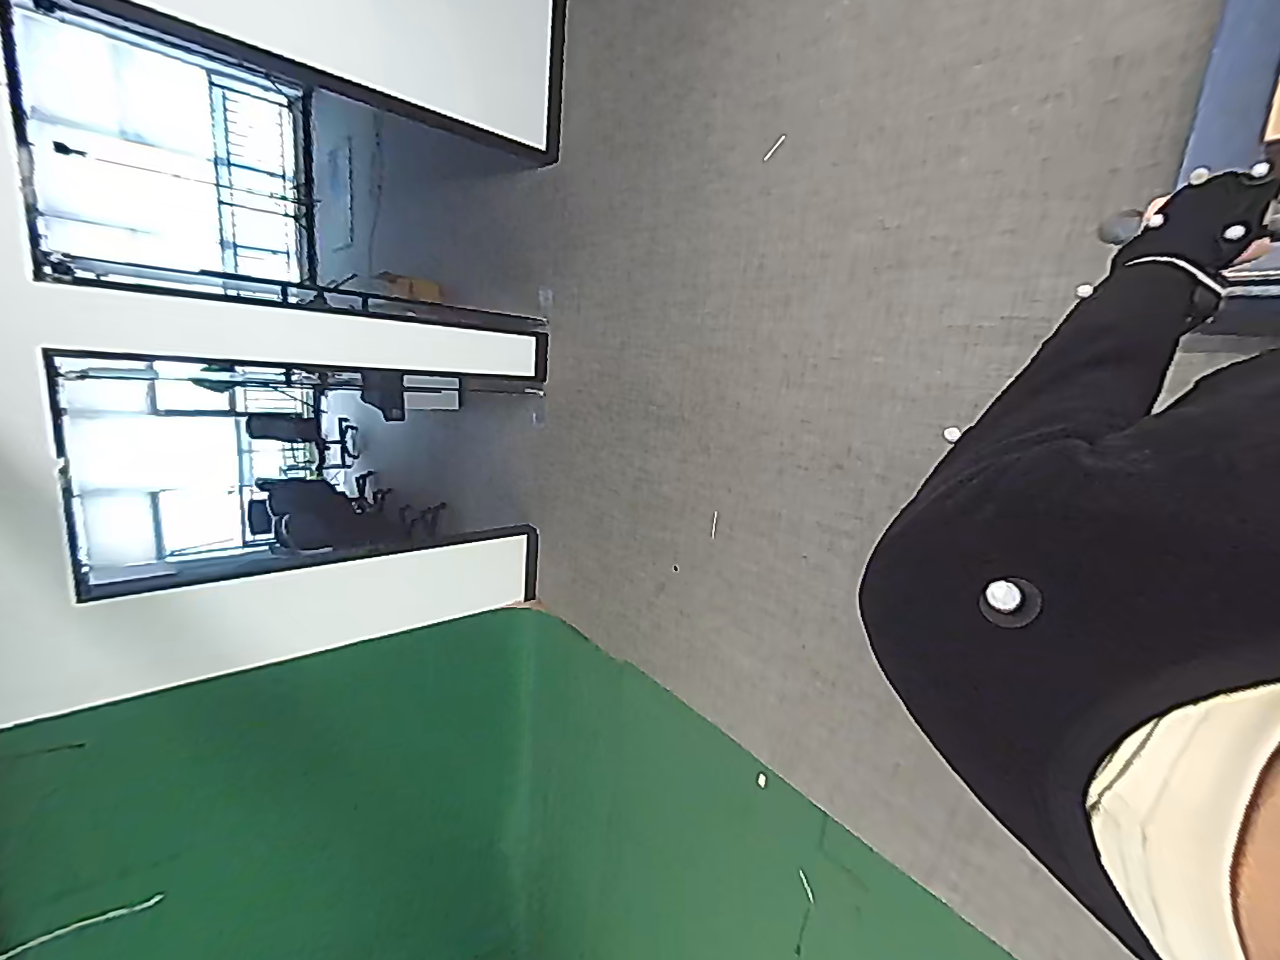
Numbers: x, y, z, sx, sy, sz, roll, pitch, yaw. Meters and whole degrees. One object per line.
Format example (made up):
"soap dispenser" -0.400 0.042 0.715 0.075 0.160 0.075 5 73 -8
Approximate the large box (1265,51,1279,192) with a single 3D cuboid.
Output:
"large box" 1.119 -0.664 0.721 0.320 0.320 0.408 15 105 49
